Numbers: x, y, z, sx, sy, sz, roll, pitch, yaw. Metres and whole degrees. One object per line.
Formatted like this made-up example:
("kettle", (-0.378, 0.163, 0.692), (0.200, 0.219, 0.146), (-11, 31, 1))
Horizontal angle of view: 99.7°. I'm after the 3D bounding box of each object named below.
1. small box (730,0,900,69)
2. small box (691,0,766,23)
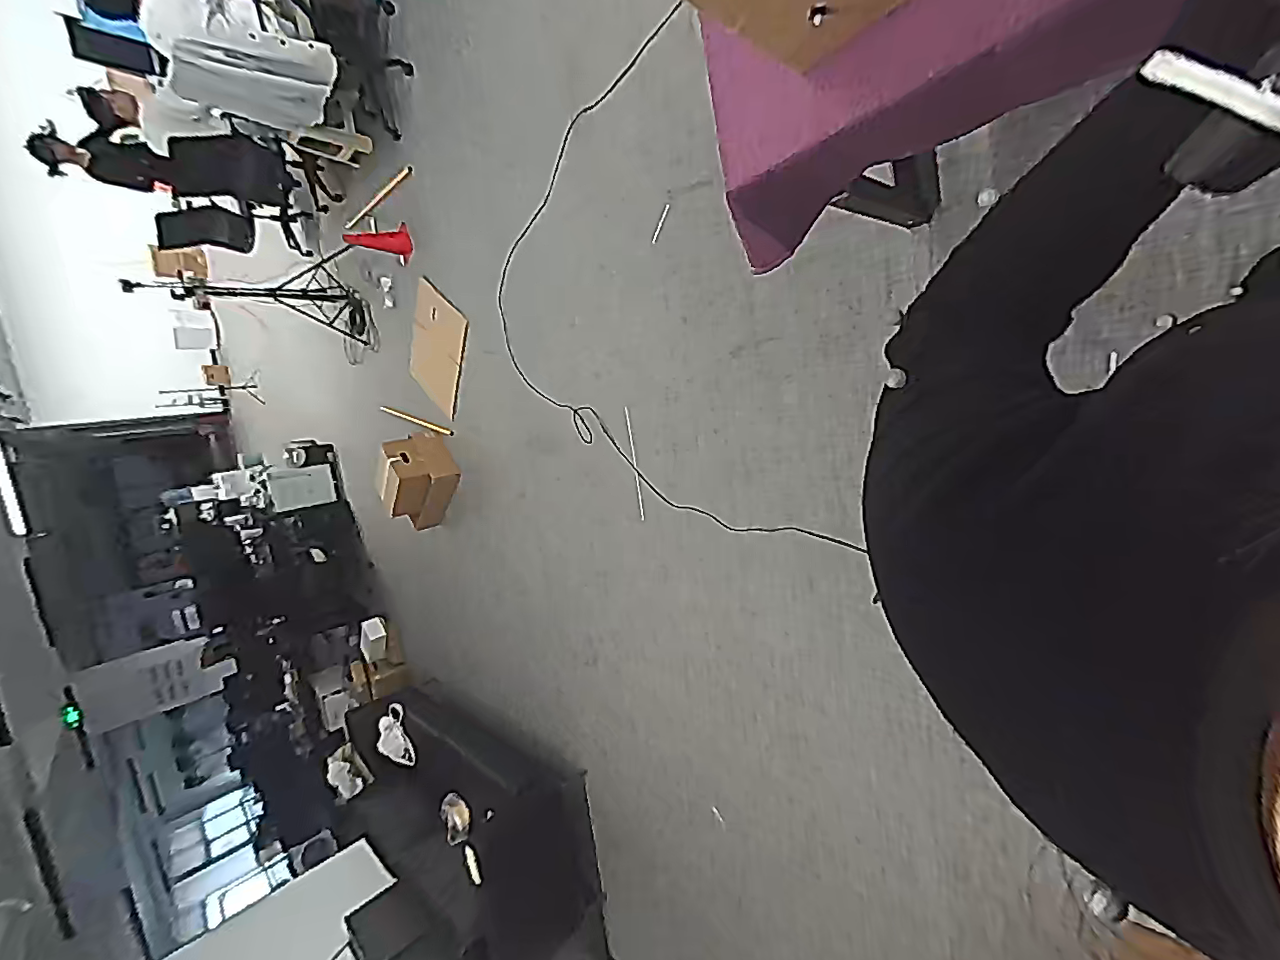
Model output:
("small box", (0.213, -0.648, 0.647), (0.179, 0.176, 0.168), (-7, 96, 49))
("small box", (0.099, -0.618, 0.535), (0.179, 0.176, 0.168), (-9, 95, 49))
